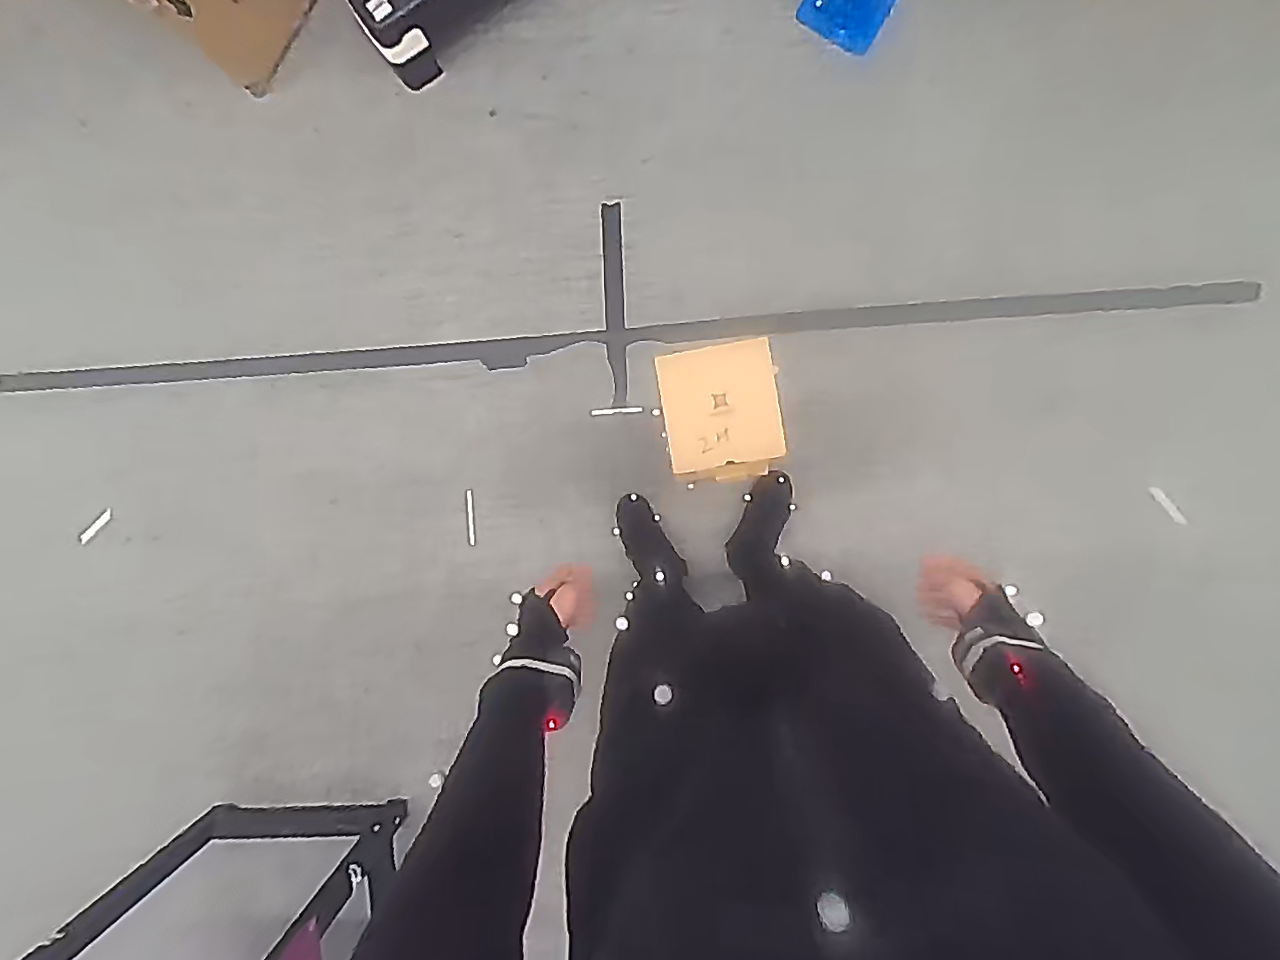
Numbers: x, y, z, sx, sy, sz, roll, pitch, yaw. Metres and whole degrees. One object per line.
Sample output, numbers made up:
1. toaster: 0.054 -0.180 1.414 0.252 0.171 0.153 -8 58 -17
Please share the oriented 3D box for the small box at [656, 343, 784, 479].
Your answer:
1. small box: 0.118 -0.102 0.855 0.168 0.176 0.179 -10 93 4
